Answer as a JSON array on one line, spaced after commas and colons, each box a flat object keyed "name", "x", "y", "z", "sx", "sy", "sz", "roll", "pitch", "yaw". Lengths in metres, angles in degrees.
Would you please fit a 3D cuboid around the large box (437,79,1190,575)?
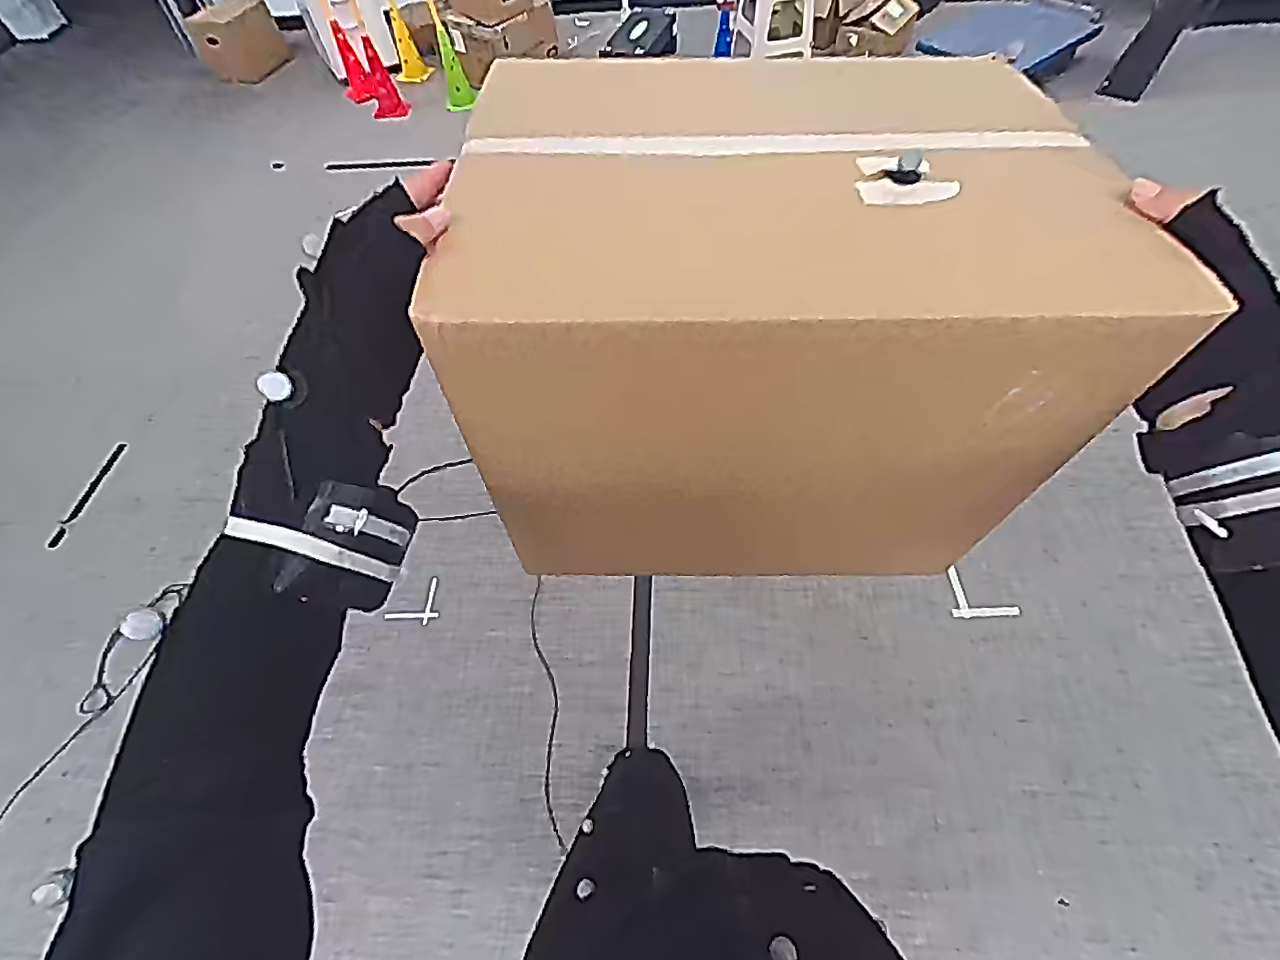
[{"name": "large box", "x": 0.086, "y": -0.120, "z": 0.484, "sx": 0.408, "sy": 0.320, "sz": 0.320, "roll": 0, "pitch": 57, "yaw": -1}]
